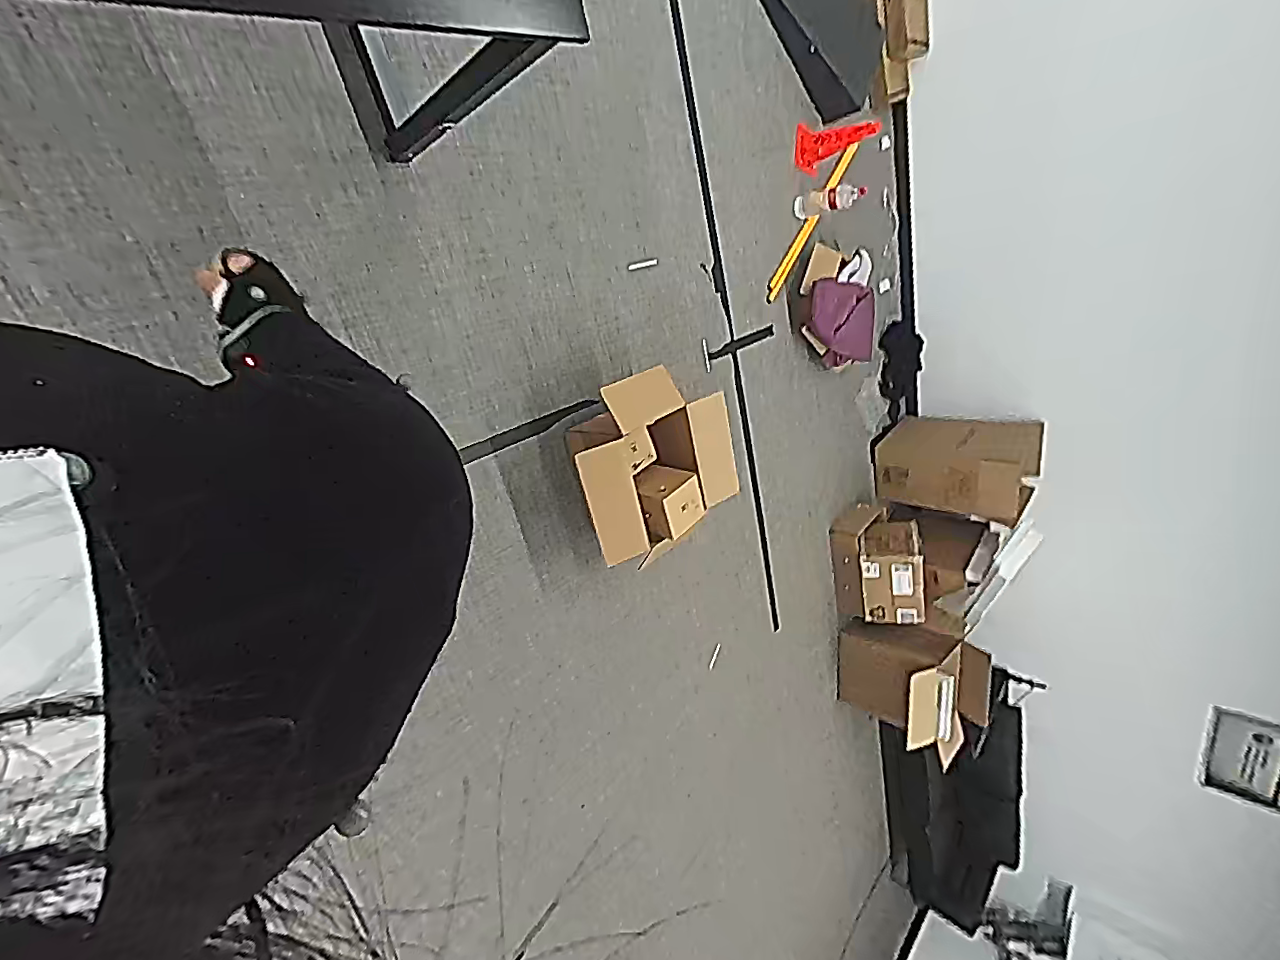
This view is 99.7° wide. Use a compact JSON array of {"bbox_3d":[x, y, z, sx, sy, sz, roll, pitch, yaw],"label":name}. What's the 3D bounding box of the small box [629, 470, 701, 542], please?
[{"bbox_3d":[0.079,0.082,1.848,0.179,0.176,0.168,-37,124,-34],"label":"small box"}]
